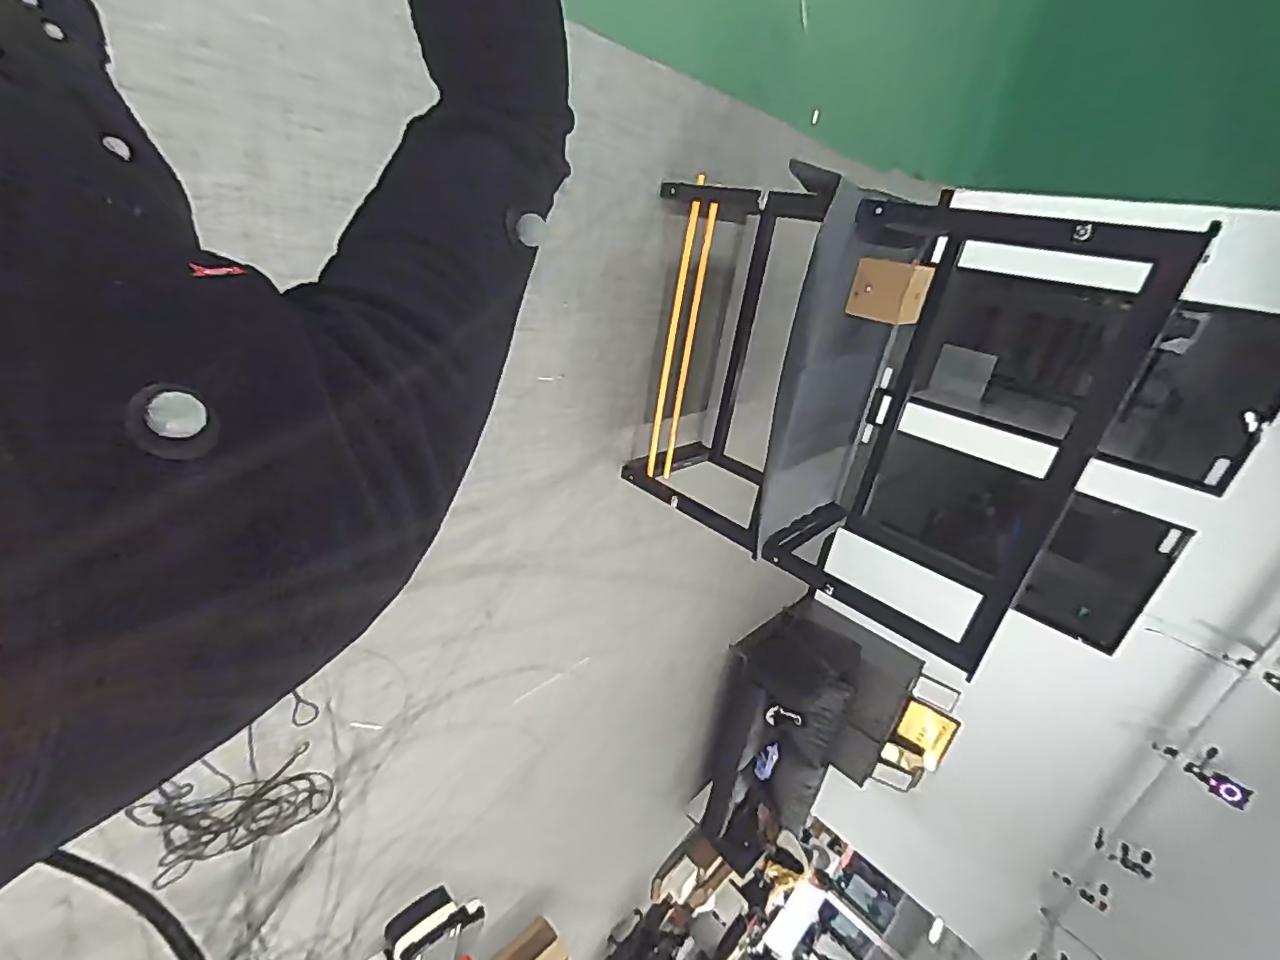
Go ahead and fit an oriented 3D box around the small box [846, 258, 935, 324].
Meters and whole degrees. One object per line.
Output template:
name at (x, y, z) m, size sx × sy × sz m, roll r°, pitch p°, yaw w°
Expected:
small box at (0.768, -0.584, 1.665) m, size 0.179 × 0.176 × 0.168 m, roll -18°, pitch 126°, yaw -43°
